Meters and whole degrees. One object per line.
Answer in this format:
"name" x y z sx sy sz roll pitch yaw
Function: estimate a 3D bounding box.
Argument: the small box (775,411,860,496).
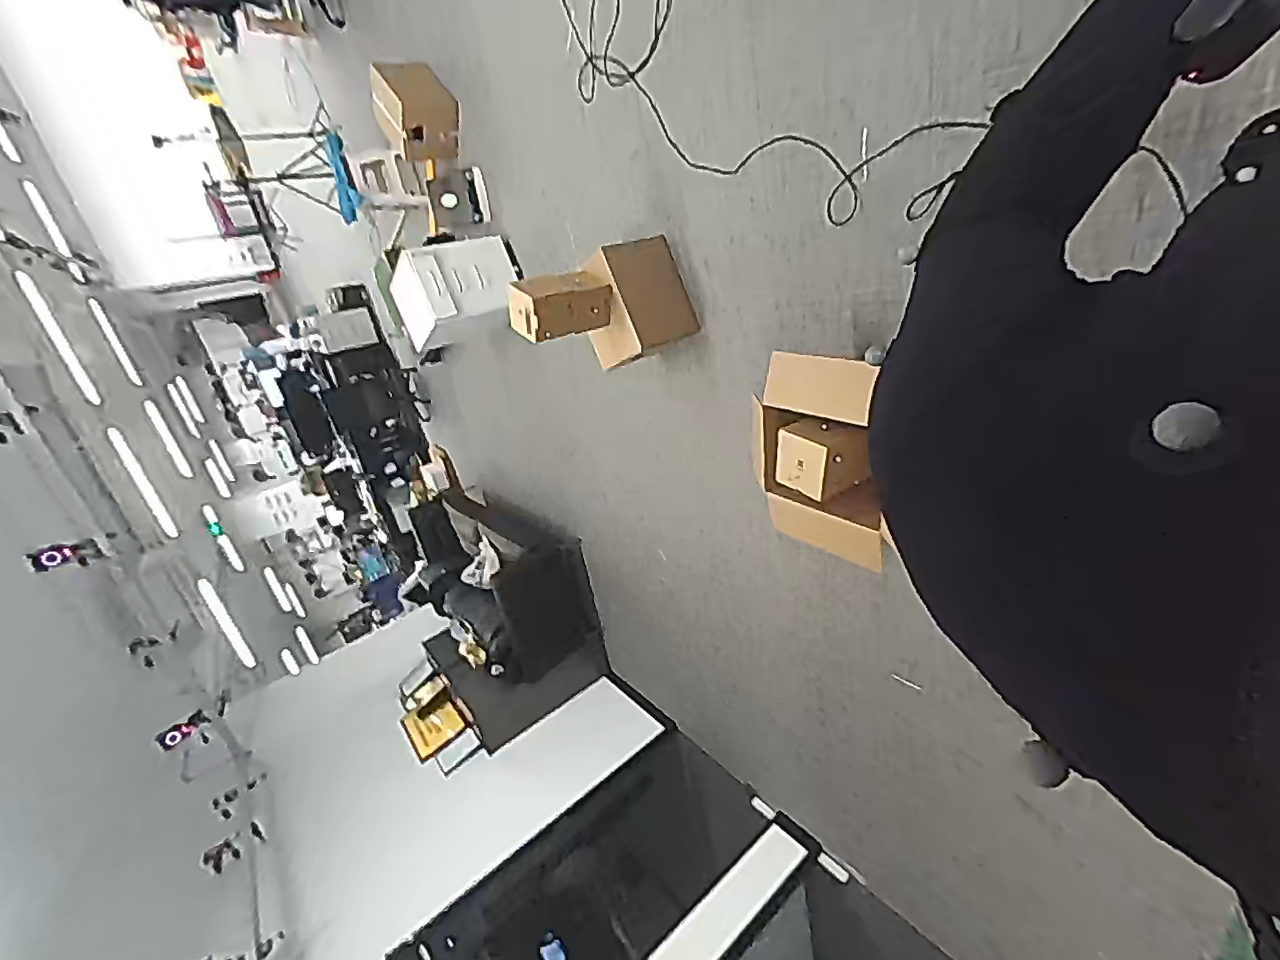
"small box" 0.520 -0.085 1.581 0.168 0.176 0.179 33 137 46

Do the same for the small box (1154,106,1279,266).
"small box" 1.011 -0.465 0.860 0.176 0.168 0.179 32 116 2

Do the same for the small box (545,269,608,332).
"small box" -0.235 -0.684 2.038 0.179 0.176 0.168 37 139 34
